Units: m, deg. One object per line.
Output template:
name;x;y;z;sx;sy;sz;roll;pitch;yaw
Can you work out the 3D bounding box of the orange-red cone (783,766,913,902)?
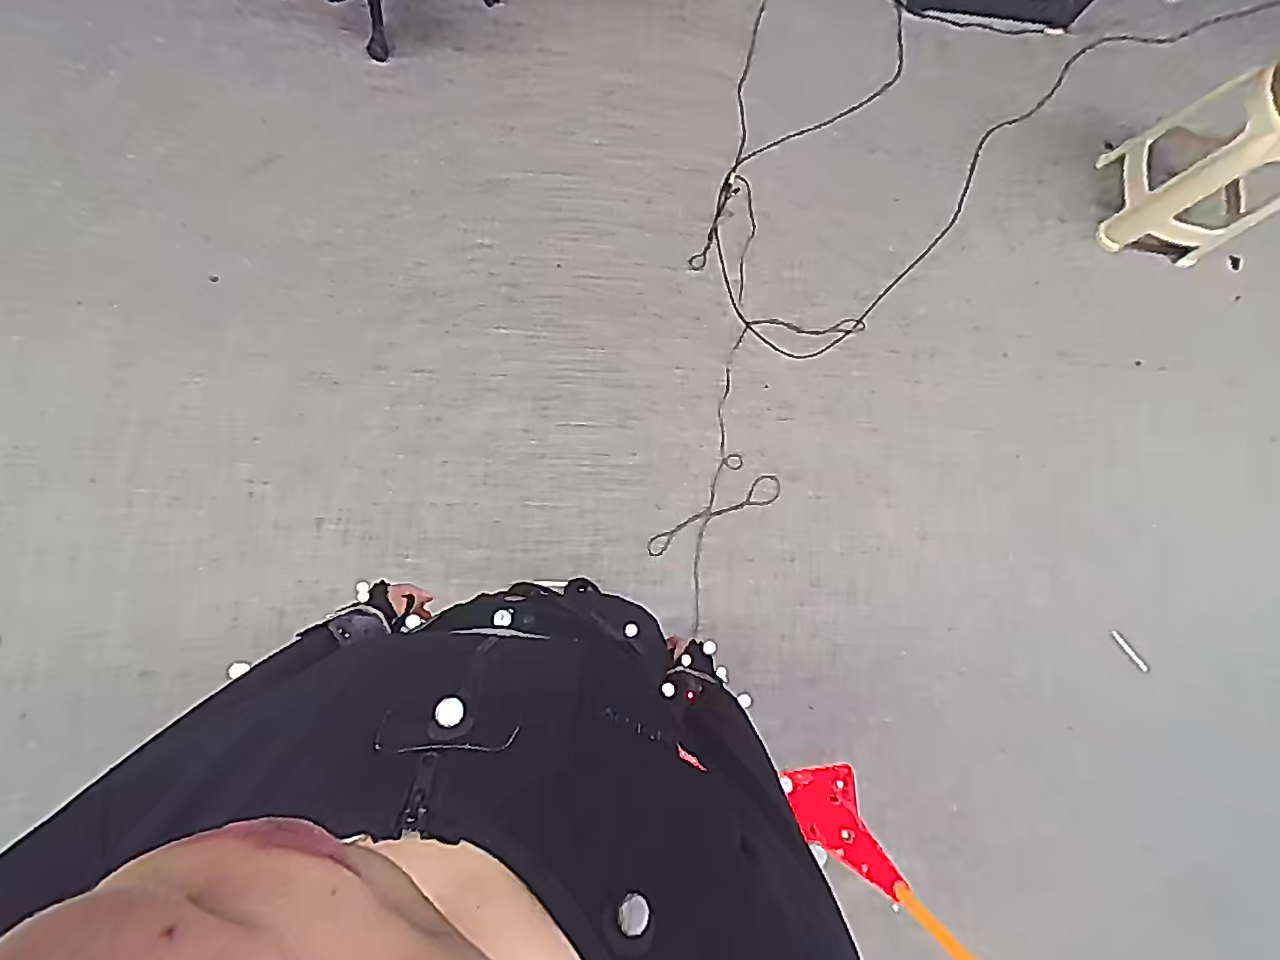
orange-red cone;0.473;0.796;1.179;0.199;0.360;0.198;-3;81;-6
